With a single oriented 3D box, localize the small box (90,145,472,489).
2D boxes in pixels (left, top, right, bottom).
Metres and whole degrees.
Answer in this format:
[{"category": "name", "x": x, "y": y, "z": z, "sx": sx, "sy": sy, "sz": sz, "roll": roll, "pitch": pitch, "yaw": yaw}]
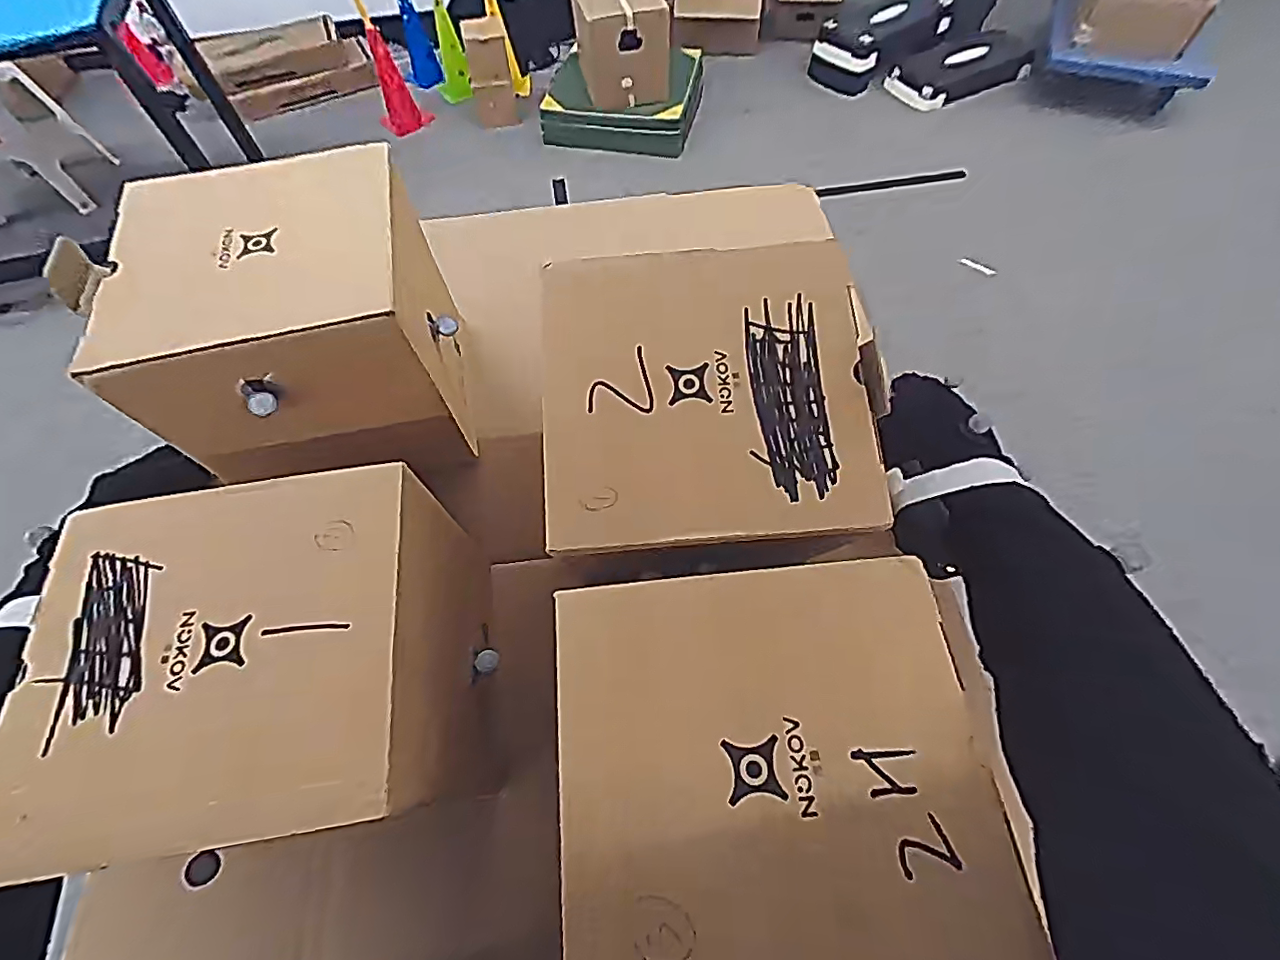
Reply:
[{"category": "small box", "x": -0.238, "y": -0.113, "z": 0.414, "sx": 0.179, "sy": 0.176, "sz": 0.168, "roll": -13, "pitch": 63, "yaw": -4}]
